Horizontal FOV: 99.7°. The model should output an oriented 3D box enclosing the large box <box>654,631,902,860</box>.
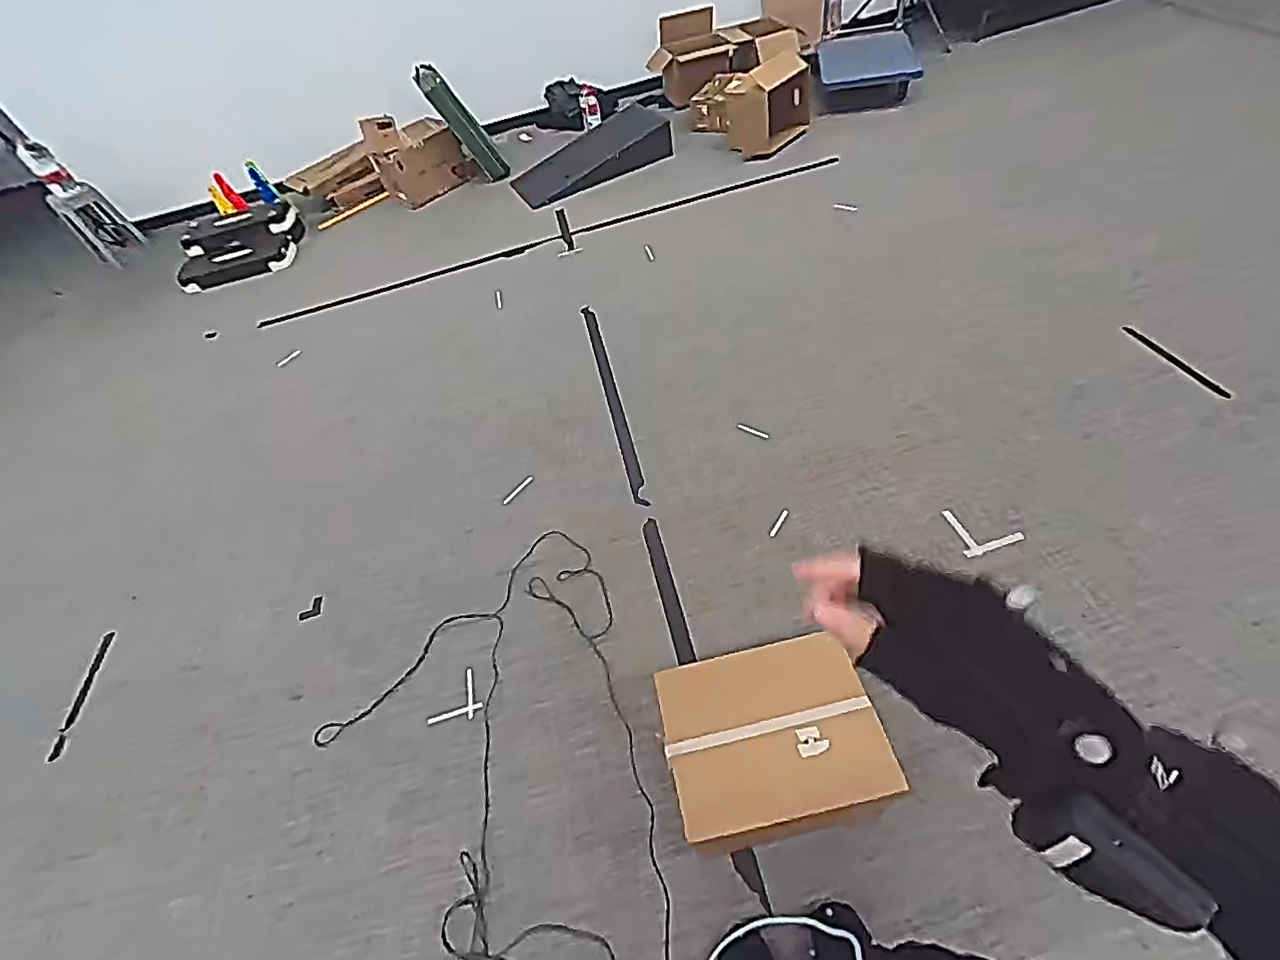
[{"bbox_3d":[0.271,0.578,1.171,0.408,0.320,0.320,-14,50,-1],"label":"large box"}]
